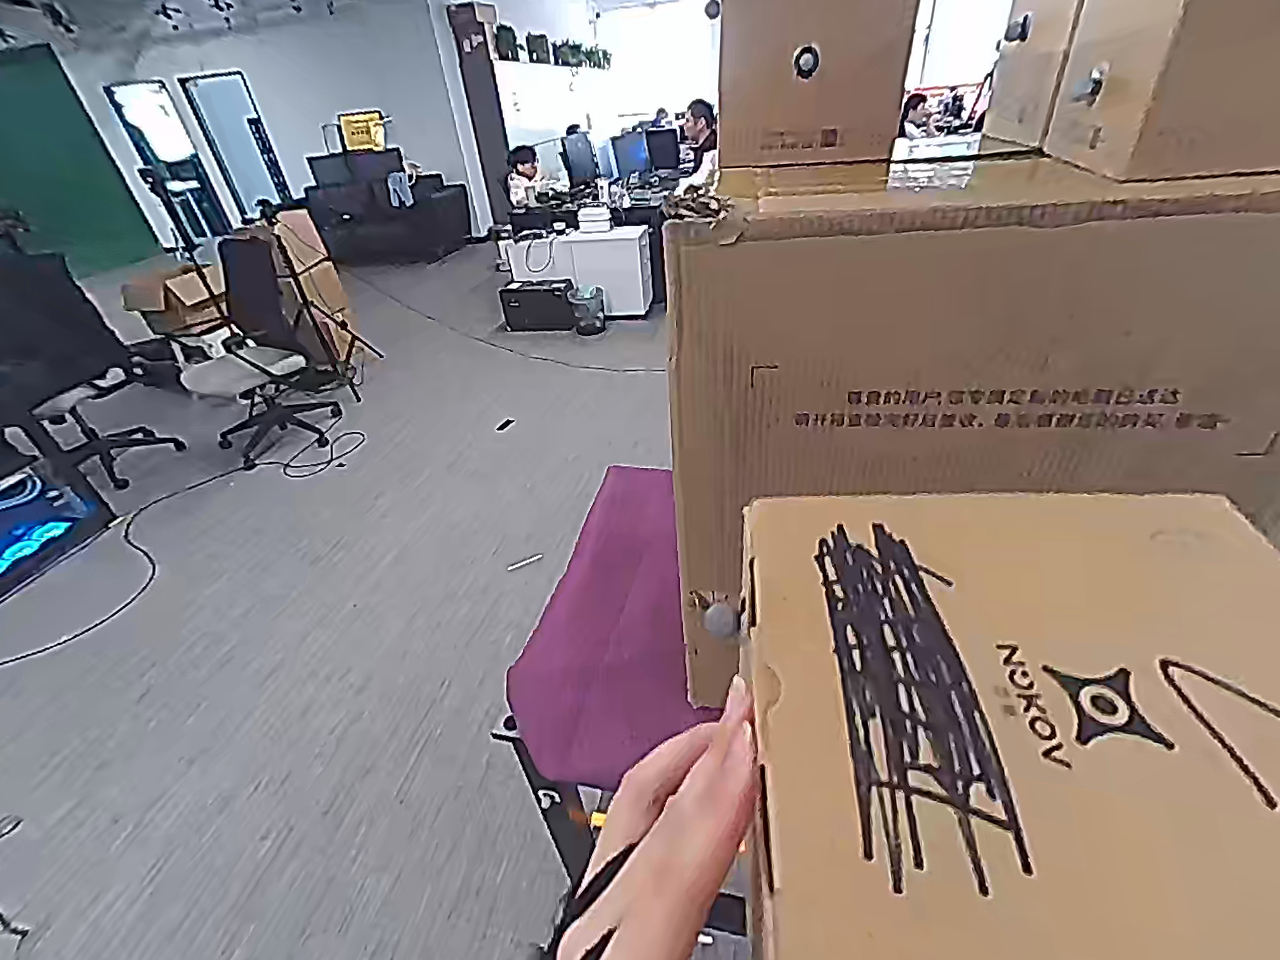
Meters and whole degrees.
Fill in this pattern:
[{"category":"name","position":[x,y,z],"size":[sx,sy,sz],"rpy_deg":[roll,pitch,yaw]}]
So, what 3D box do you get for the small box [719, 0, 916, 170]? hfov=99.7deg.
[{"category":"small box","position":[0.168,-0.415,0.543],"size":[0.168,0.176,0.179],"rpy_deg":[4,37,10]}]
